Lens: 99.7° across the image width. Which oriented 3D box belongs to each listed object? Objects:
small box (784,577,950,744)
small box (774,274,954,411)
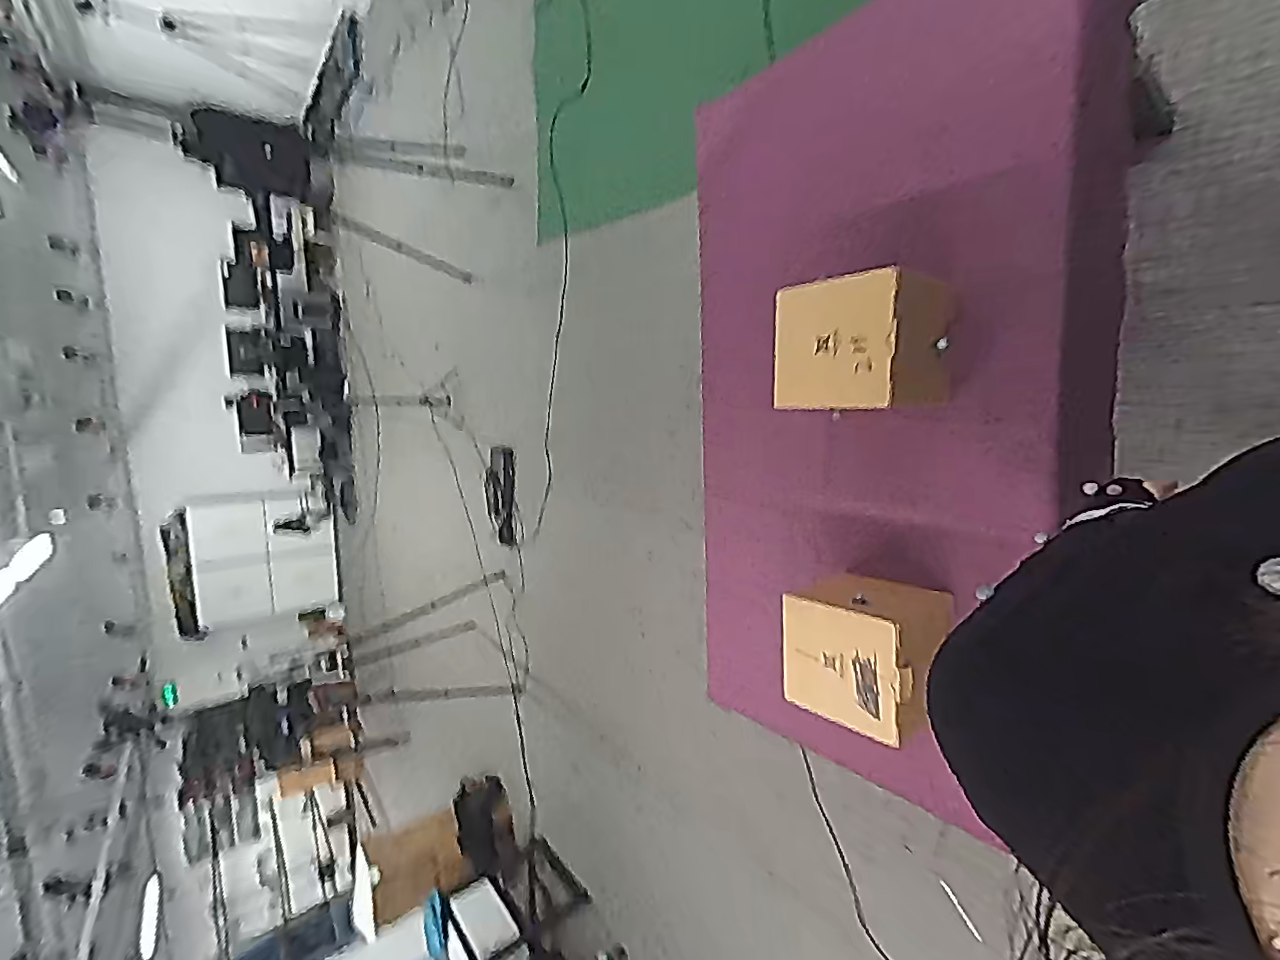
[{"bbox_3d":[0.338,0.249,0.803,0.179,0.176,0.168,4,98,53],"label":"small box"},{"bbox_3d":[0.314,-0.183,0.769,0.179,0.176,0.168,9,103,51],"label":"small box"}]
